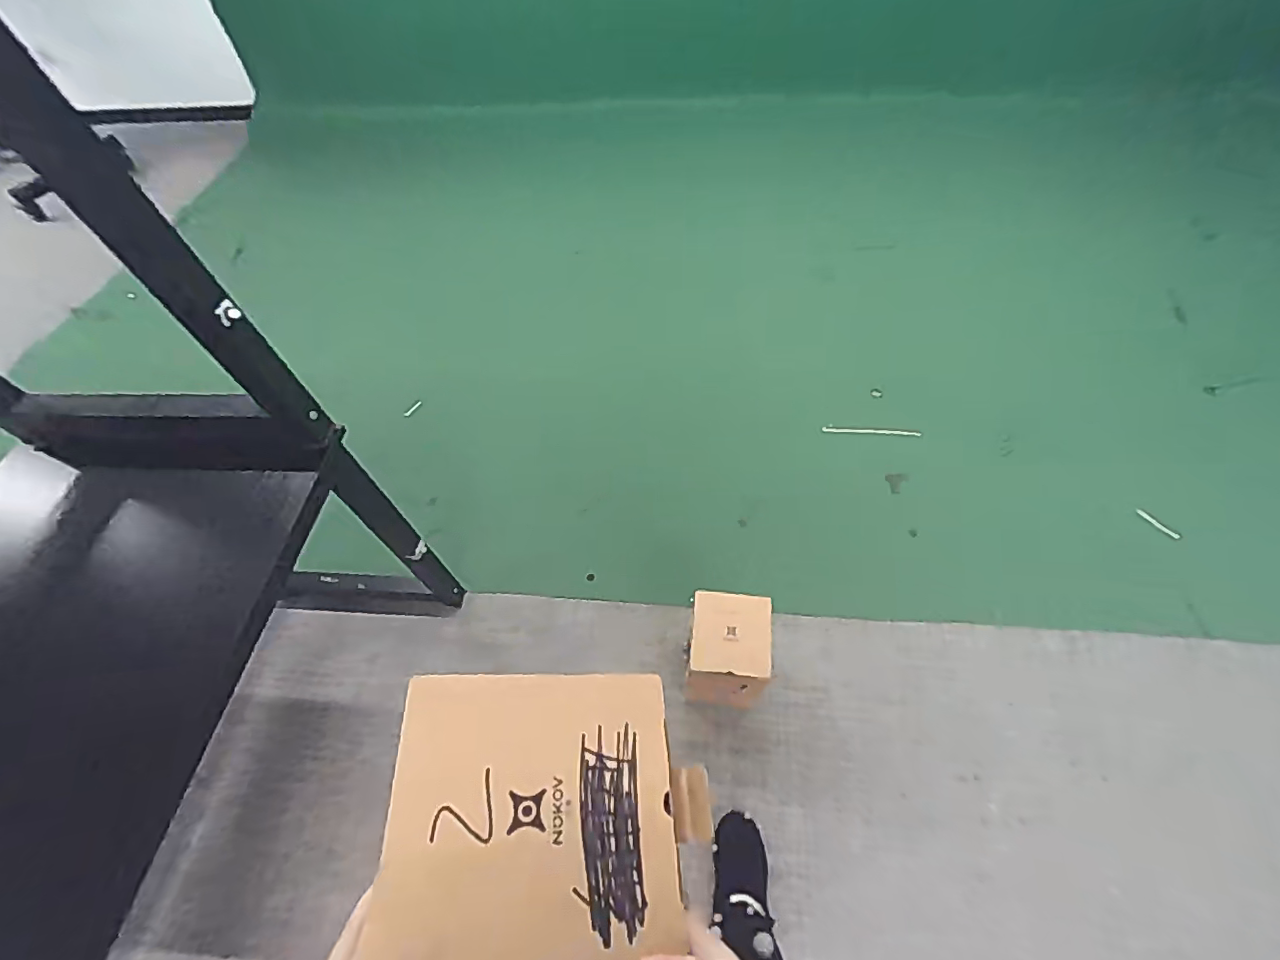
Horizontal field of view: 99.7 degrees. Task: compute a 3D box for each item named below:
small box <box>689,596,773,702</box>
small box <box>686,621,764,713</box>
[{"bbox_3d":[0.196,0.373,1.180,0.168,0.176,0.179,5,56,6],"label":"small box"},{"bbox_3d":[0.206,0.458,1.318,0.179,0.176,0.168,6,57,6],"label":"small box"}]
